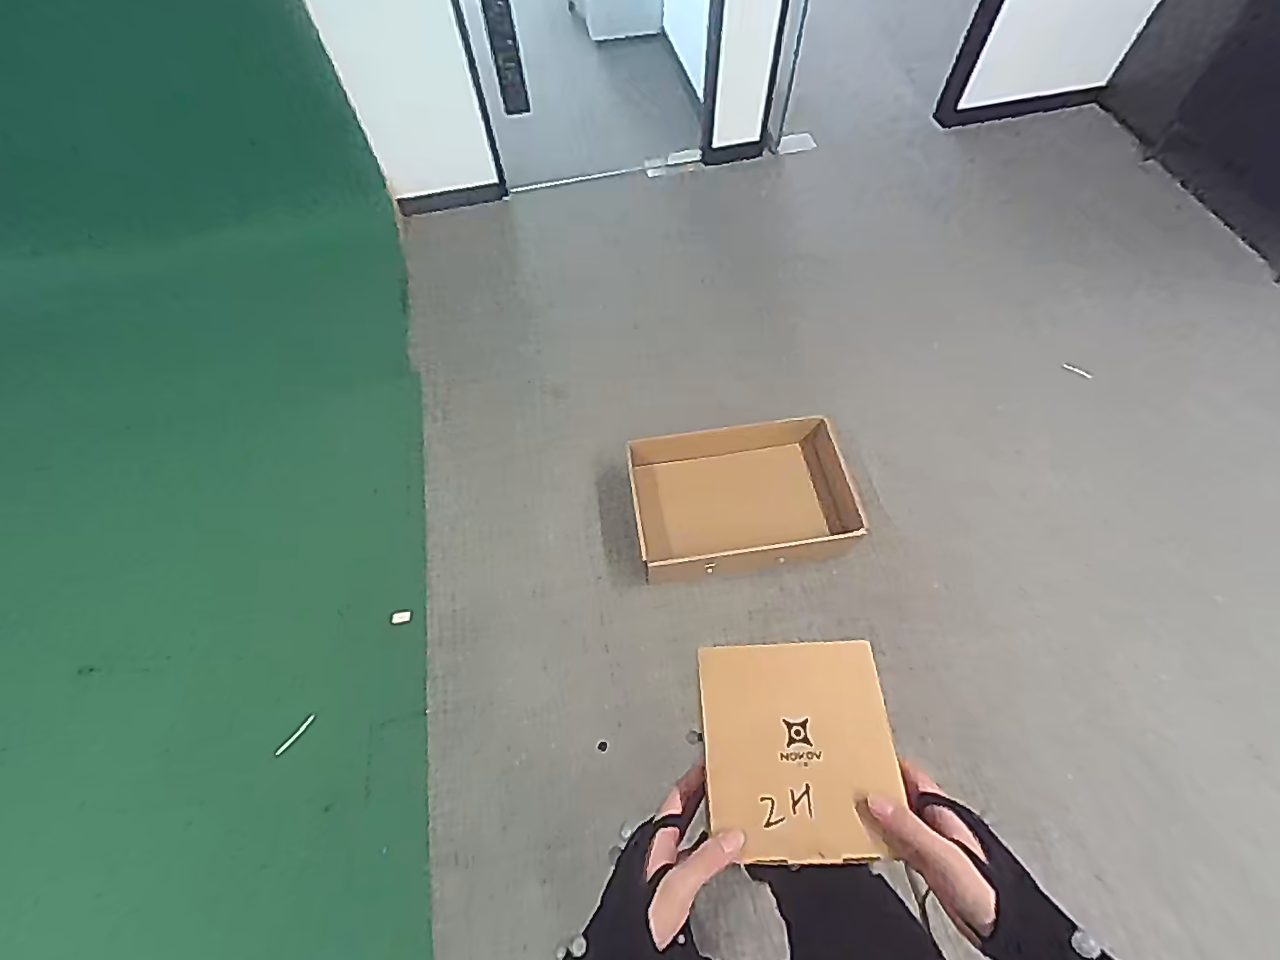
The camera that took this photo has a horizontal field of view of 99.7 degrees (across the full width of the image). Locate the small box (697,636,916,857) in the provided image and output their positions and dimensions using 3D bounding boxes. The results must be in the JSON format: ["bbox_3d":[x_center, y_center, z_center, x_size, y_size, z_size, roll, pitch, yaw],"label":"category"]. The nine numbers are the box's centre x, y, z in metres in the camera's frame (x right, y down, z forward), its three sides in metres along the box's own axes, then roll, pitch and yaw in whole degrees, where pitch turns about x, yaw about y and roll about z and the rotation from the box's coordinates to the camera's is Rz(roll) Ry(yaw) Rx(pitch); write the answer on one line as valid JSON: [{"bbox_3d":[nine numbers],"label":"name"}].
[{"bbox_3d":[0.145,0.268,0.546,0.168,0.176,0.179,-3,60,4],"label":"small box"}]
